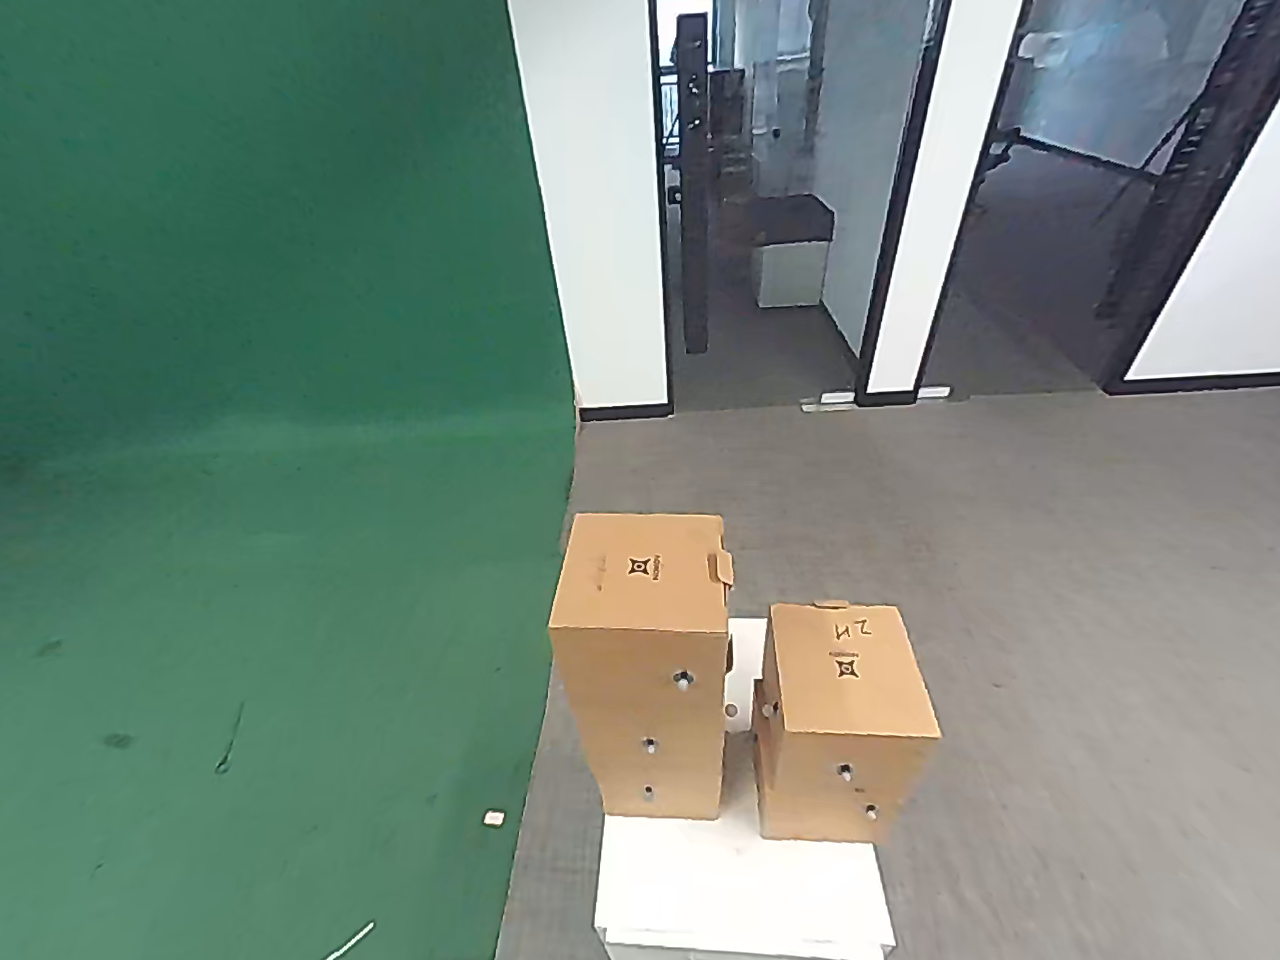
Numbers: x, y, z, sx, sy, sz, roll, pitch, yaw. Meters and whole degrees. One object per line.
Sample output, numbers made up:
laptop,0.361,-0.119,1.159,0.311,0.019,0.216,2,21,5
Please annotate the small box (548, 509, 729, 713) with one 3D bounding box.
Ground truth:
small box,0.007,0.151,0.625,0.179,0.176,0.168,0,39,6

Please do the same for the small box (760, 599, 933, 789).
small box,0.251,0.277,0.703,0.168,0.176,0.179,0,40,6

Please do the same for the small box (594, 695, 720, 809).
small box,0.032,0.394,0.845,0.179,0.176,0.168,0,41,4
